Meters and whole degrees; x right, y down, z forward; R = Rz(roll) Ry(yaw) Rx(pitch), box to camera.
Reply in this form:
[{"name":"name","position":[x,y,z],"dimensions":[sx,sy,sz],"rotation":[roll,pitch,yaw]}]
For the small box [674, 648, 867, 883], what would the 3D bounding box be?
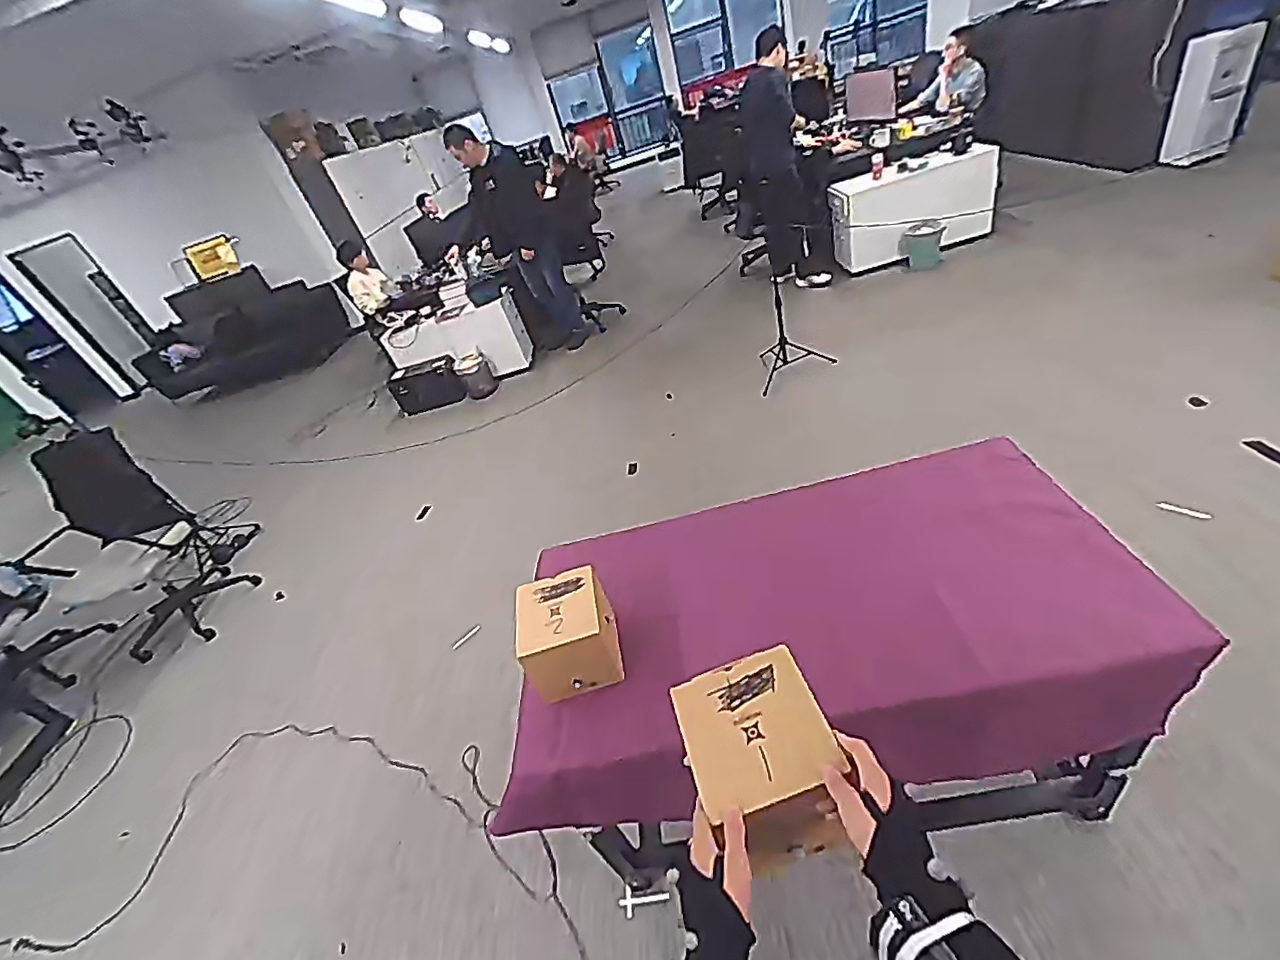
[{"name":"small box","position":[0.159,0.351,0.672],"dimensions":[0.168,0.176,0.179],"rotation":[-23,33,2]}]
